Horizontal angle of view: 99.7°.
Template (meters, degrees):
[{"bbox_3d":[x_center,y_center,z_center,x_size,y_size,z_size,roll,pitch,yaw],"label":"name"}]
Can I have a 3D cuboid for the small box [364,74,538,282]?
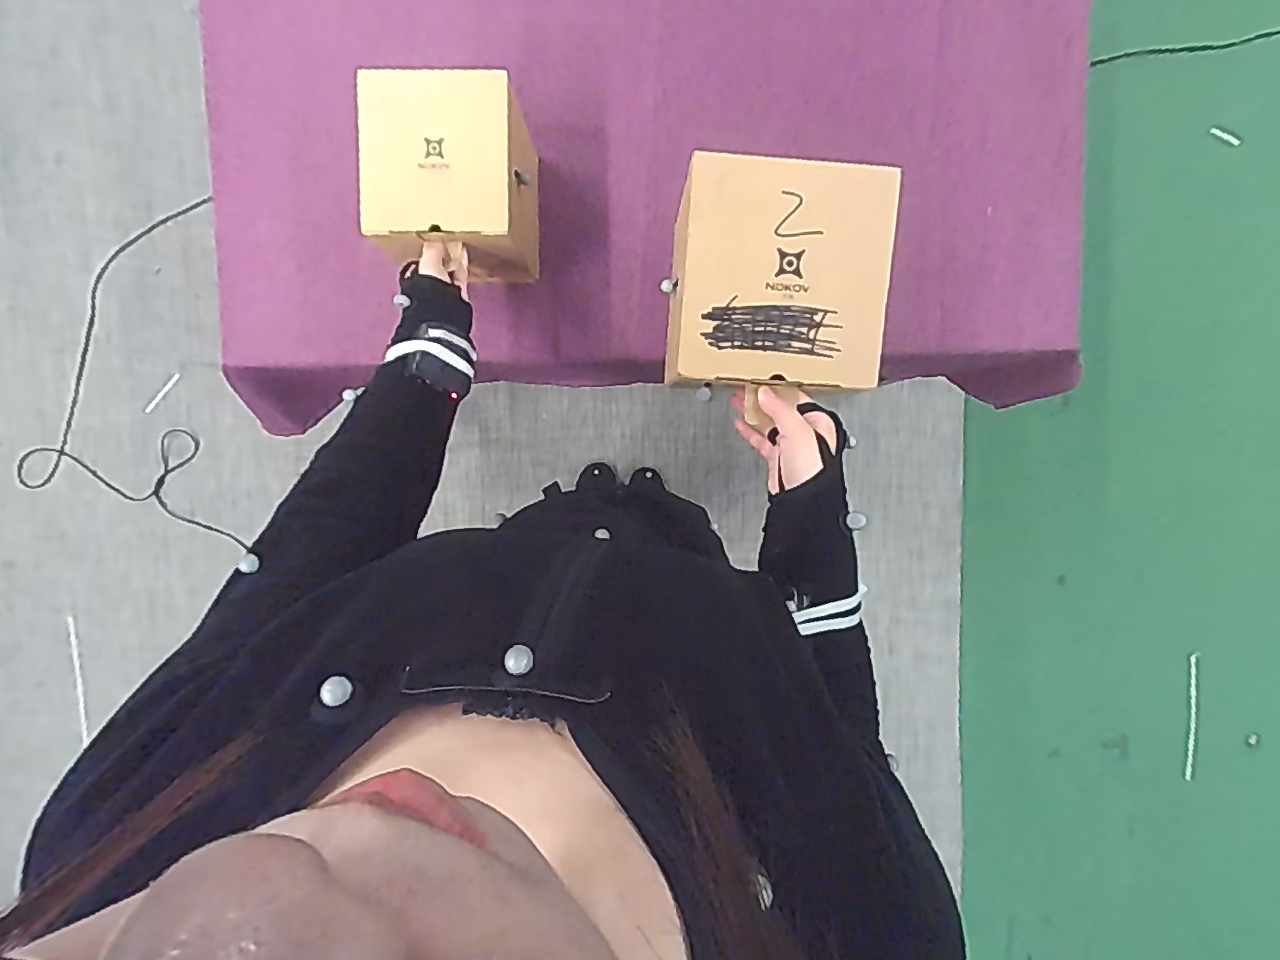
[{"bbox_3d":[-0.228,-0.368,0.686,0.168,0.176,0.179,1,94,0],"label":"small box"}]
